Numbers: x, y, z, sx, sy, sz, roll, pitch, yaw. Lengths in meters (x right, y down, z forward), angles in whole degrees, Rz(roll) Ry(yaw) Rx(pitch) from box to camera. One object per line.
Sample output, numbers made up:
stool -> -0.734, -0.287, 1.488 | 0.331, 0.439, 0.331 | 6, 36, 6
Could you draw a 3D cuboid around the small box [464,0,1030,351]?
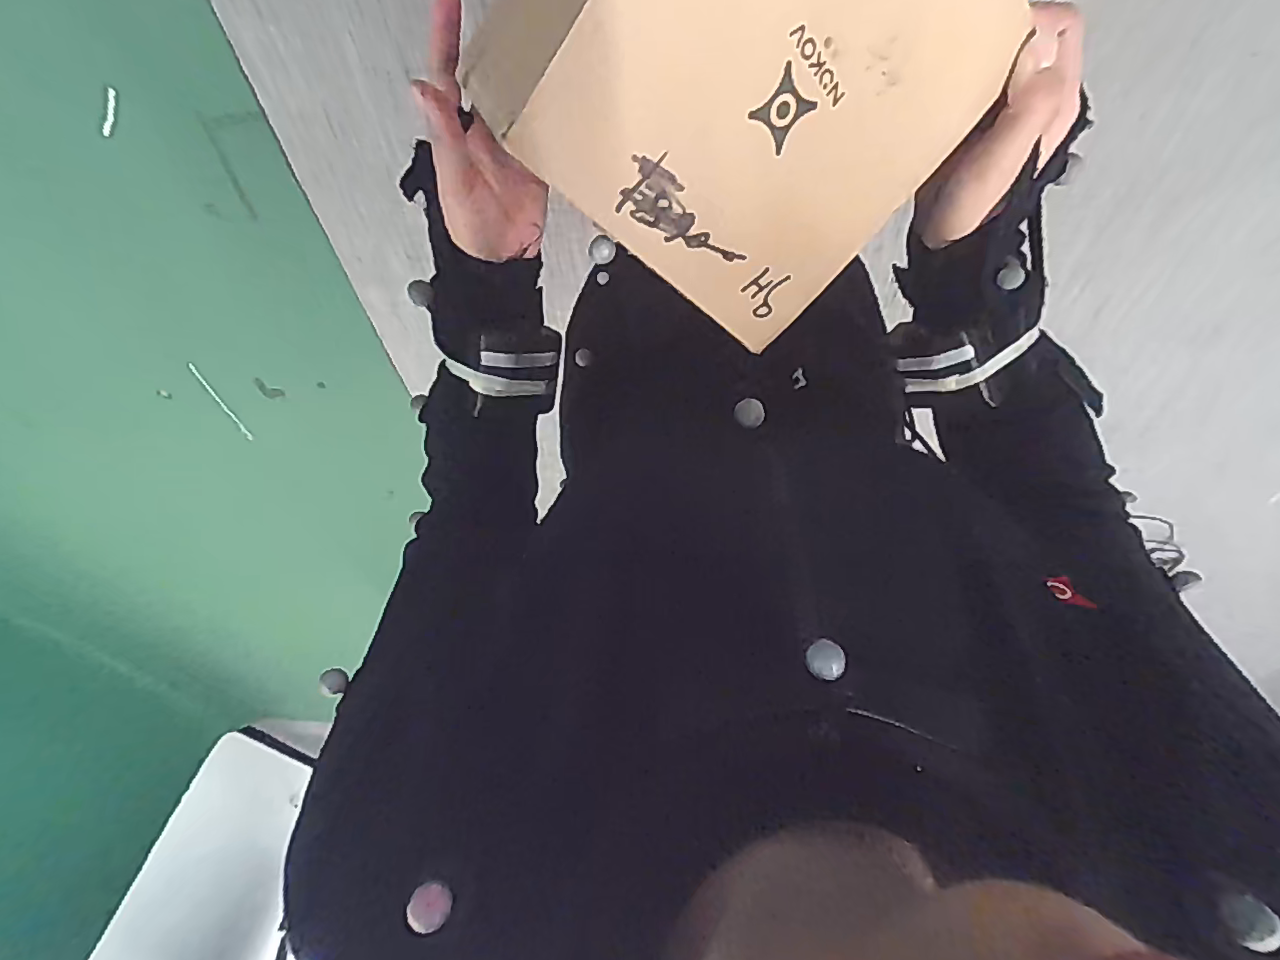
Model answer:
small box -> 0.031, -0.205, 0.264 | 0.168, 0.176, 0.179 | 25, 116, -40
